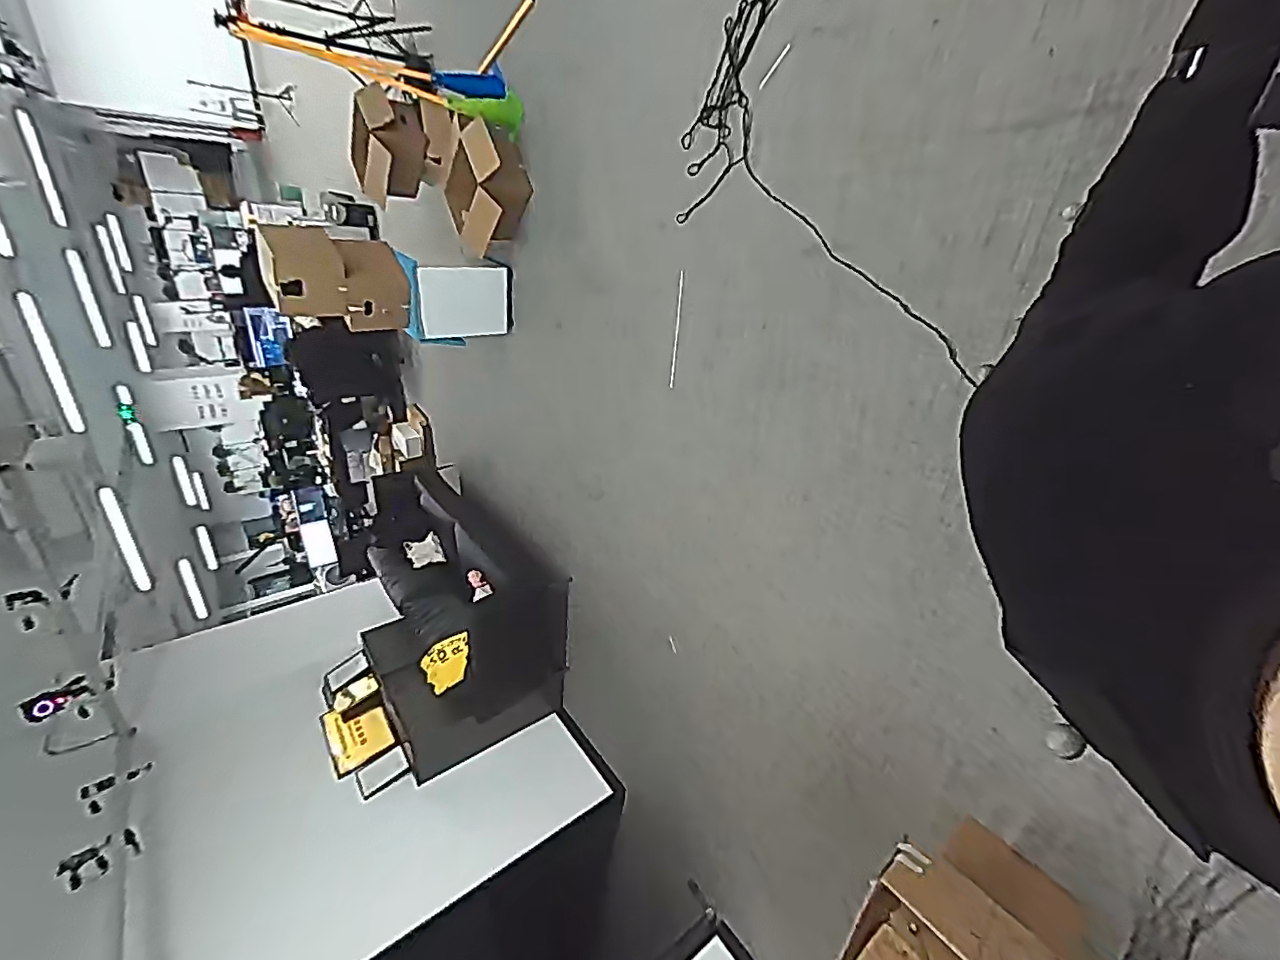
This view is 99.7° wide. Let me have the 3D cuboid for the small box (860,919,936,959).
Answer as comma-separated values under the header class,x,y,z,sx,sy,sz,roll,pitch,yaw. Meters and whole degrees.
class,x,y,z,sx,sy,sz,roll,pitch,yaw
small box,0.584,1.156,1.219,0.168,0.176,0.179,30,126,45
